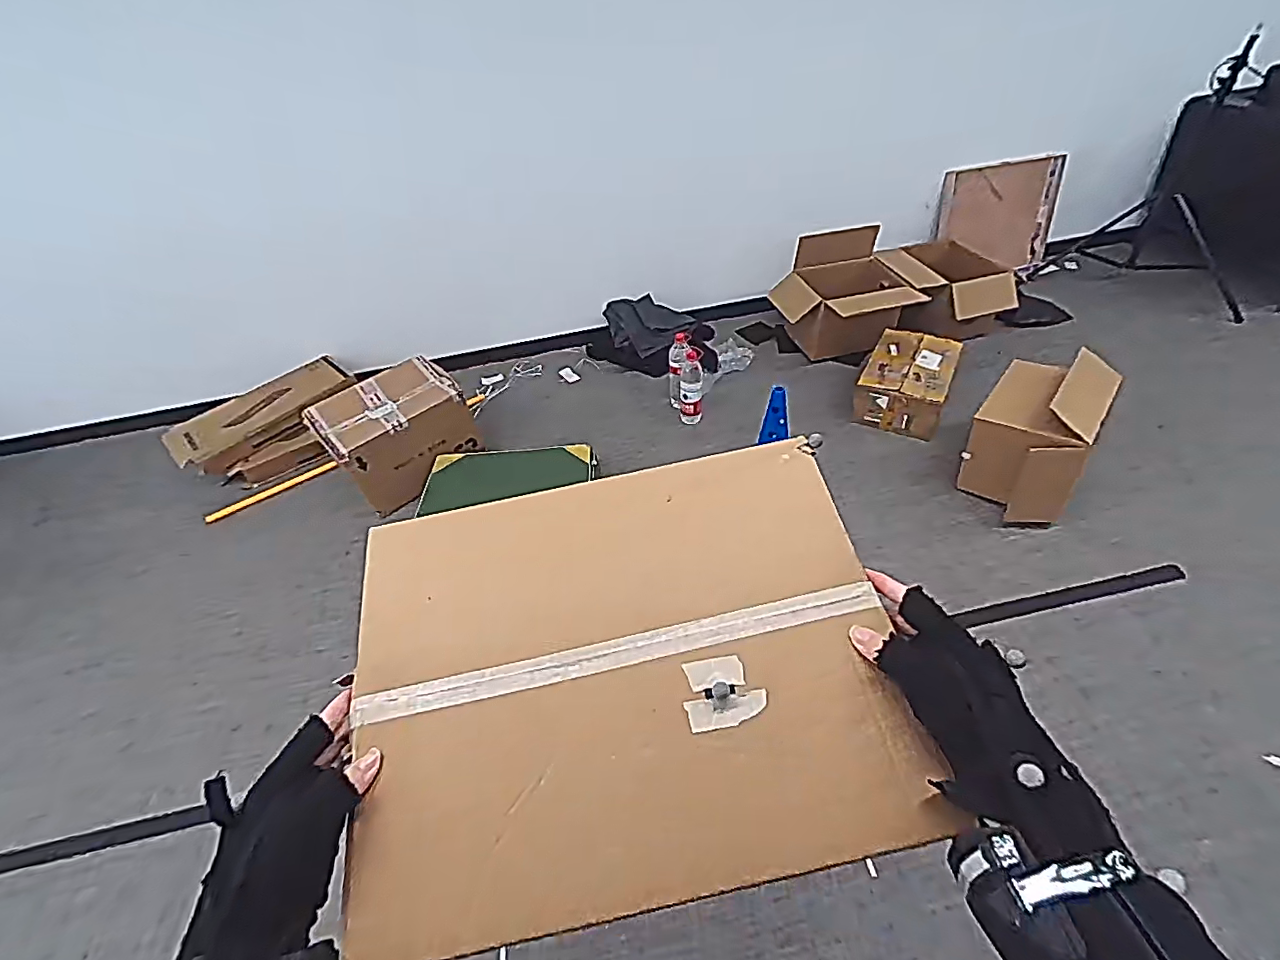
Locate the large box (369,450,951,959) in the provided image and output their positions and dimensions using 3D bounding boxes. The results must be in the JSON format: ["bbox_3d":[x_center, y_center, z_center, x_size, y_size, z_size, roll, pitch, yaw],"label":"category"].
[{"bbox_3d":[-0.001,0.217,0.557,0.408,0.320,0.320,-12,59,-2],"label":"large box"}]
